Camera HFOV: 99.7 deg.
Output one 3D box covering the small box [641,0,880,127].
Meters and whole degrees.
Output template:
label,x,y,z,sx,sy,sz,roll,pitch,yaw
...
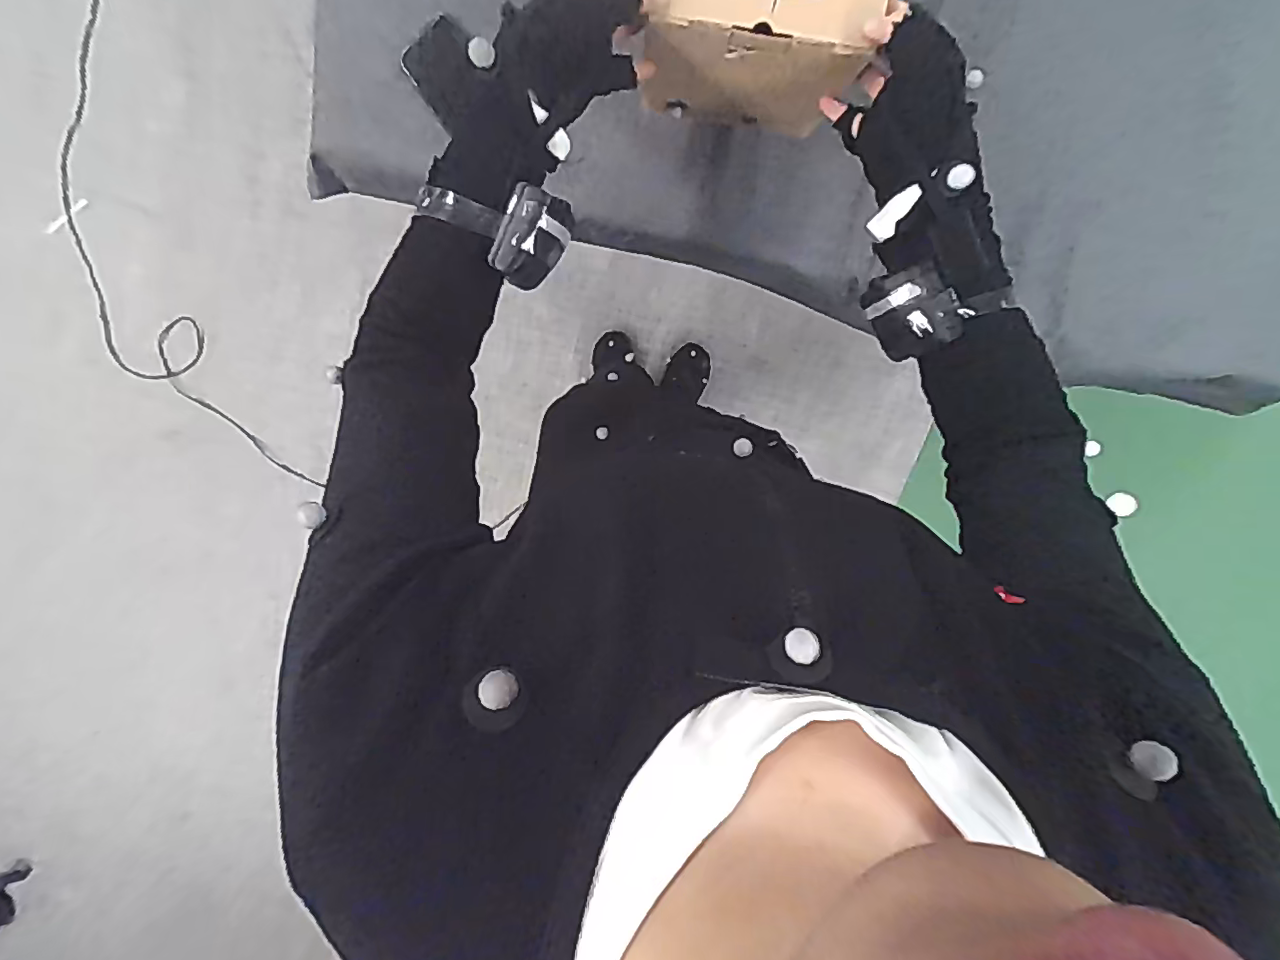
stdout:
label,x,y,z,sx,sy,sz,roll,pitch,yaw
small box,0.094,-0.416,0.432,0.168,0.176,0.179,7,104,-3
